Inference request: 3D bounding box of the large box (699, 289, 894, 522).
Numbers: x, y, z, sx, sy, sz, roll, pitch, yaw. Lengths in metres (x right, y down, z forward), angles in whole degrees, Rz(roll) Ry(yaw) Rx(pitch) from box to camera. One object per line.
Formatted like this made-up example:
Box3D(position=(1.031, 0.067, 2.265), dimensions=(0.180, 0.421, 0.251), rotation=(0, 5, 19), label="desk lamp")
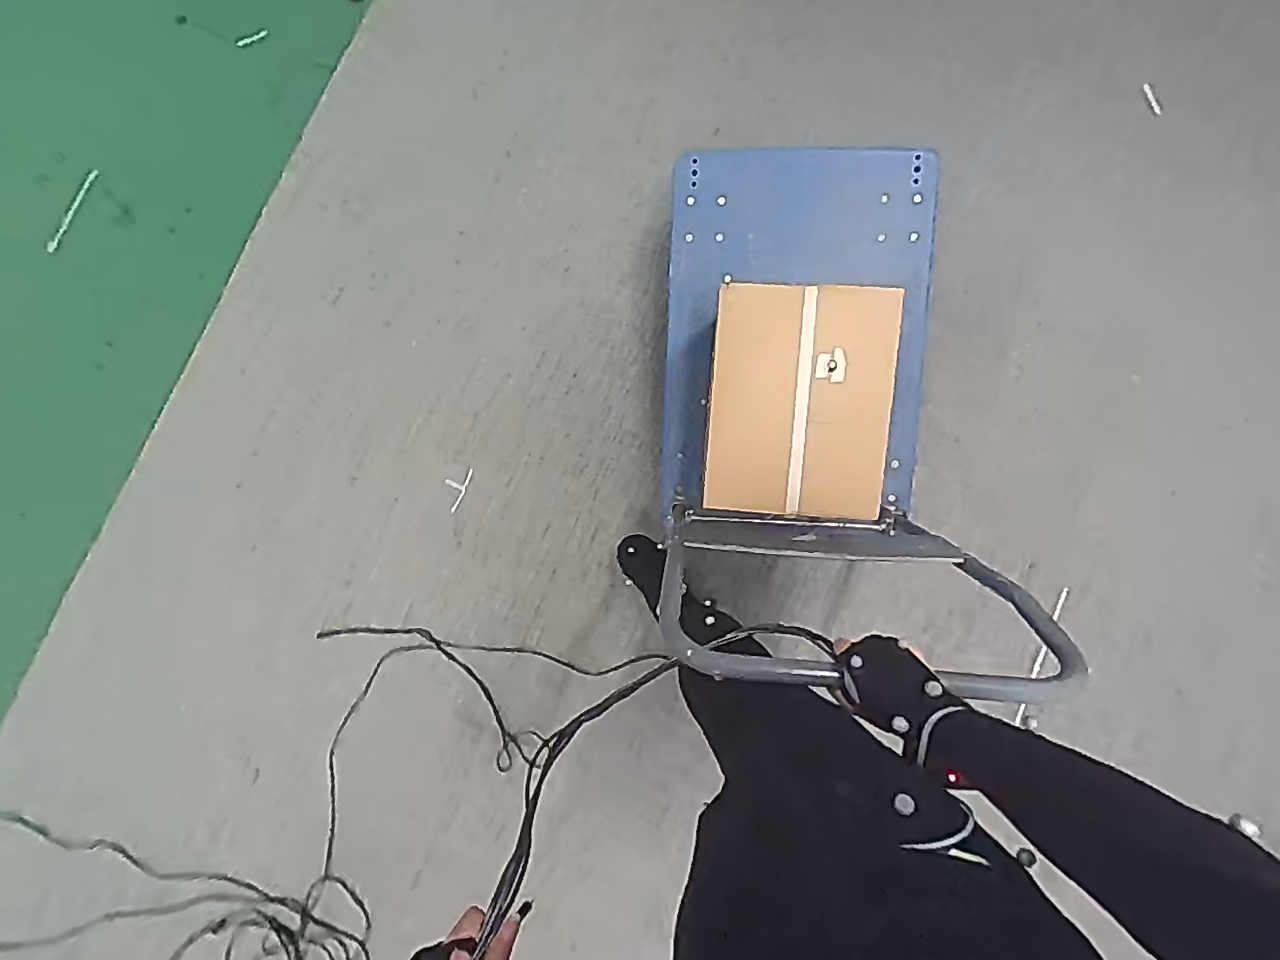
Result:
Box3D(position=(0.291, -0.143, 1.108), dimensions=(0.320, 0.320, 0.408), rotation=(5, 96, 5), label="large box")
